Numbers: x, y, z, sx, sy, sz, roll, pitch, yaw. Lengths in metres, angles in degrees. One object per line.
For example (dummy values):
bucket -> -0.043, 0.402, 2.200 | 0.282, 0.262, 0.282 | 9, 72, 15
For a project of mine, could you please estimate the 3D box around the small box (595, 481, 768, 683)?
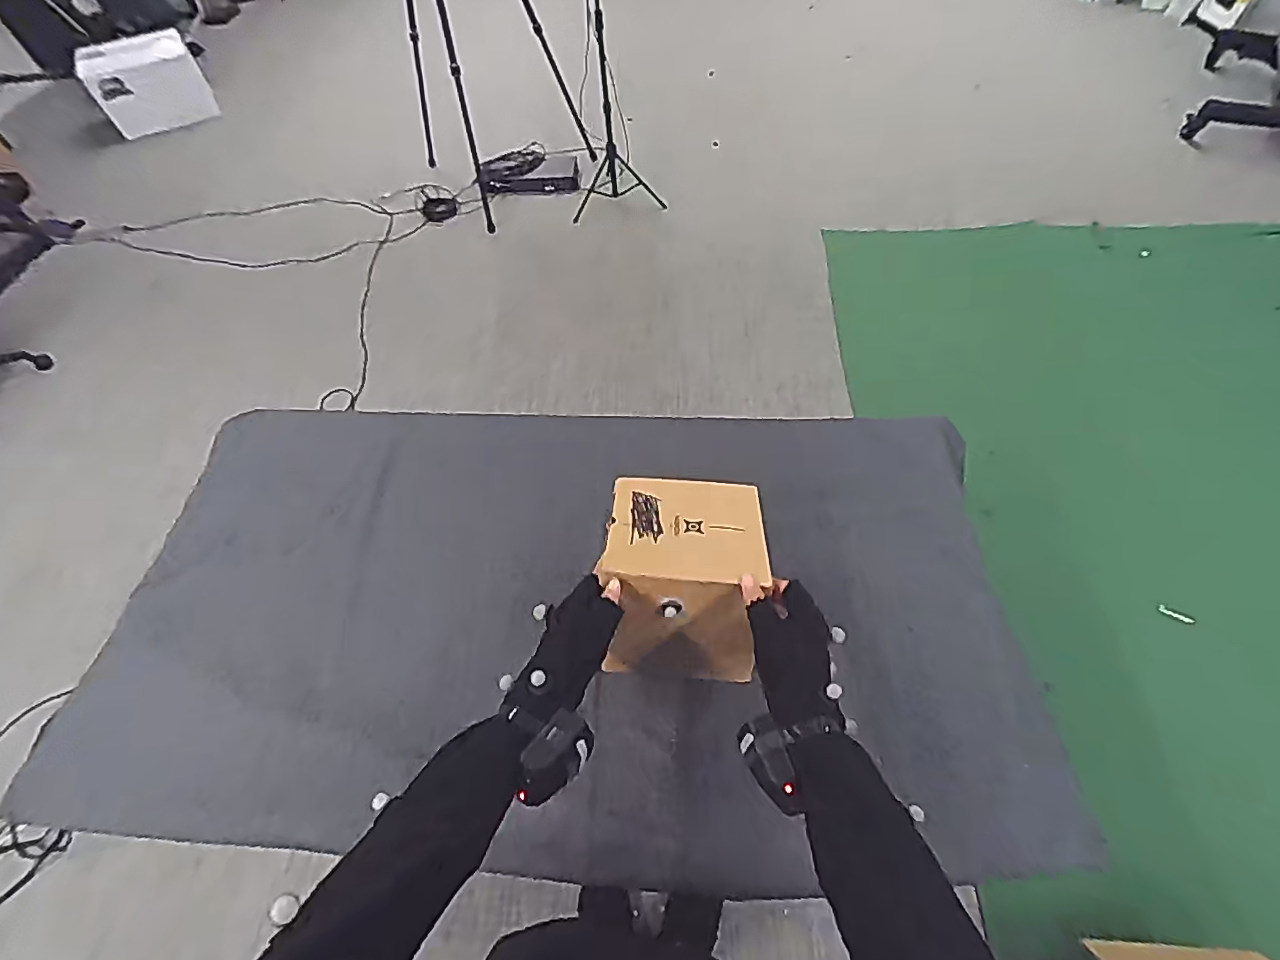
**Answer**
small box -> 0.045, 0.120, 0.644 | 0.179, 0.176, 0.168 | 5, 34, 3
